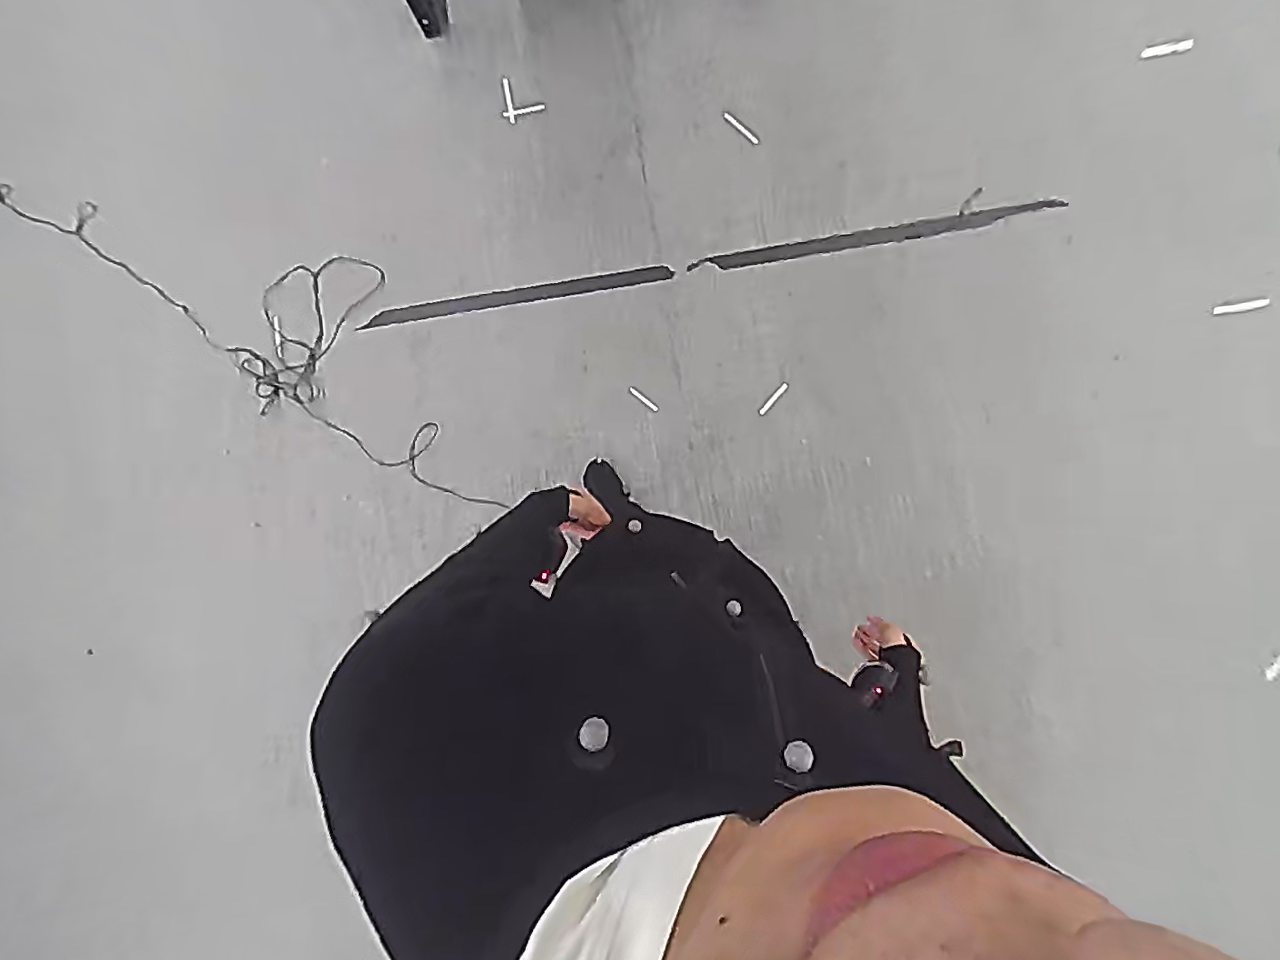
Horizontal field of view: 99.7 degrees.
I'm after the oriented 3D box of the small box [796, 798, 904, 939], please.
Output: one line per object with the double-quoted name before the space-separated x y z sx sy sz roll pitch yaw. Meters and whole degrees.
"small box" 0.417 0.778 1.100 0.168 0.176 0.179 -1 89 4
